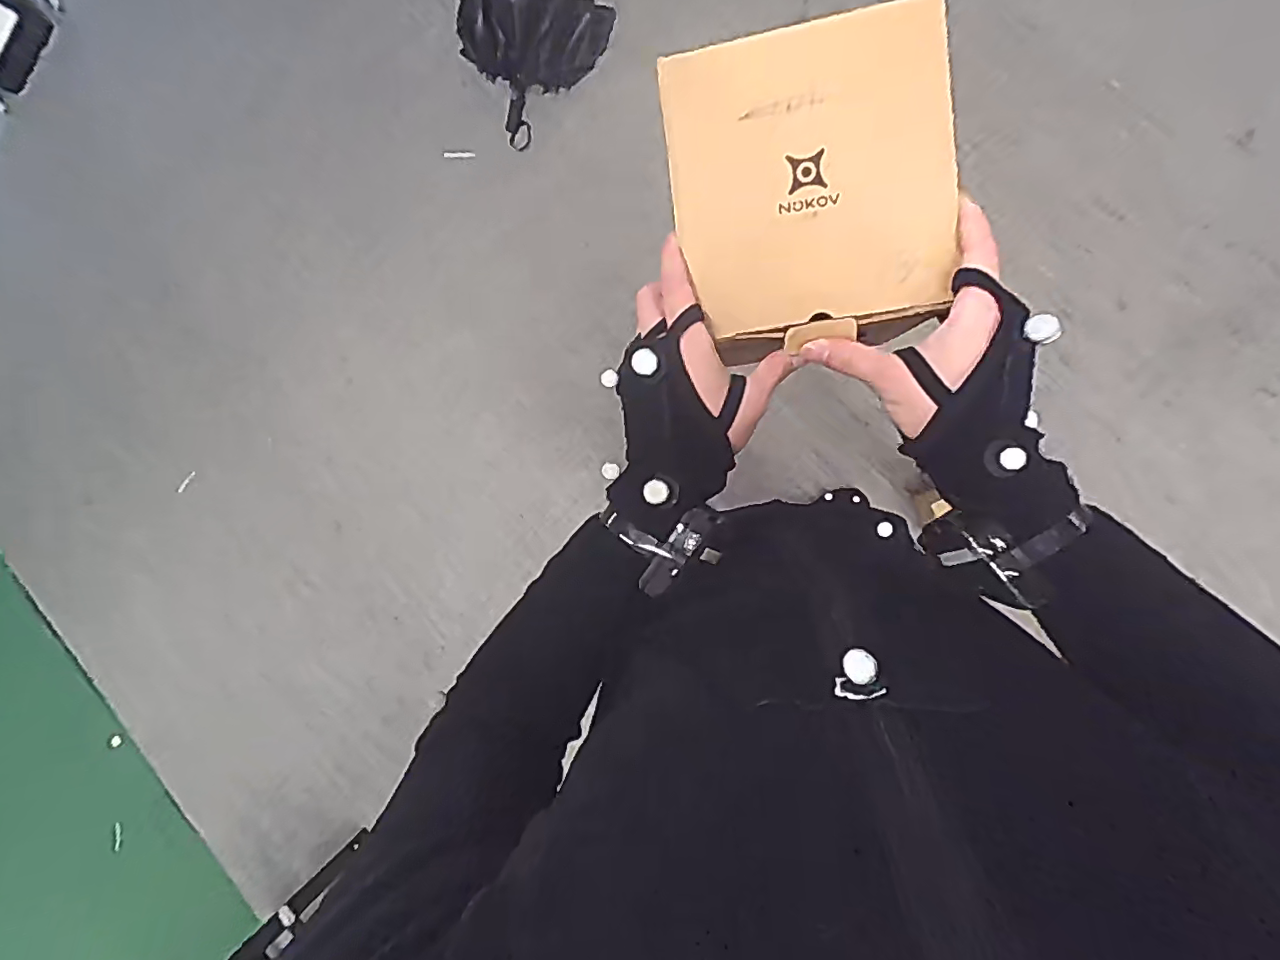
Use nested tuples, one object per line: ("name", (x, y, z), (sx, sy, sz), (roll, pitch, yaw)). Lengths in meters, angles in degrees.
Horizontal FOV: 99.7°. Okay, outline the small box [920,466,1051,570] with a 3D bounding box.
("small box", (0.741, 0.077, 1.188), (0.179, 0.176, 0.168), (-26, 87, 15))
